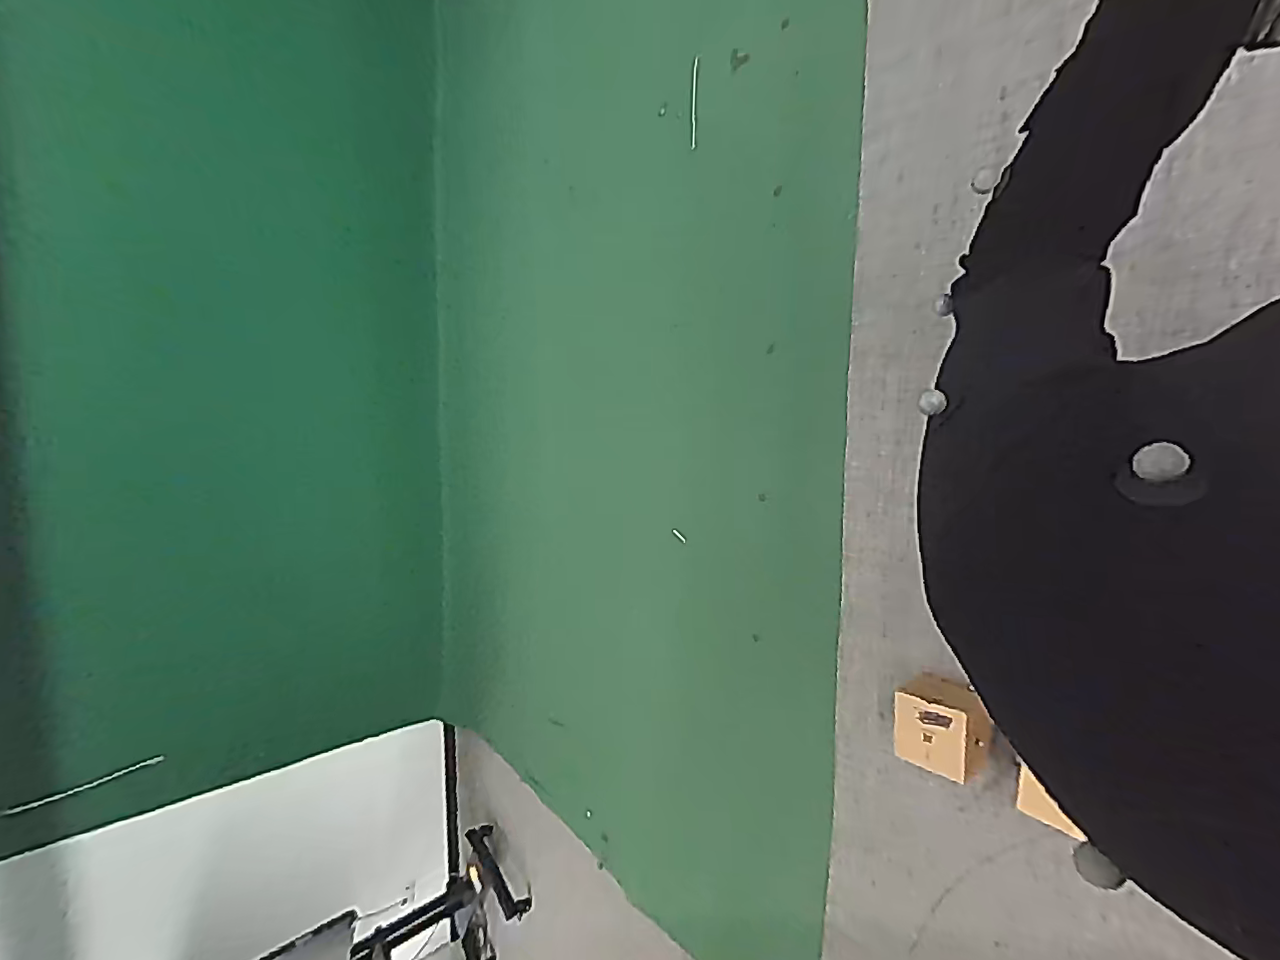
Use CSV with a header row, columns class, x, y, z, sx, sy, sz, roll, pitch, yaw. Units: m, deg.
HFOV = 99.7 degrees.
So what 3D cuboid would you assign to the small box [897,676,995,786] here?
class,x,y,z,sx,sy,sz,roll,pitch,yaw
small box,0.765,0.612,1.350,0.168,0.176,0.179,4,96,50
